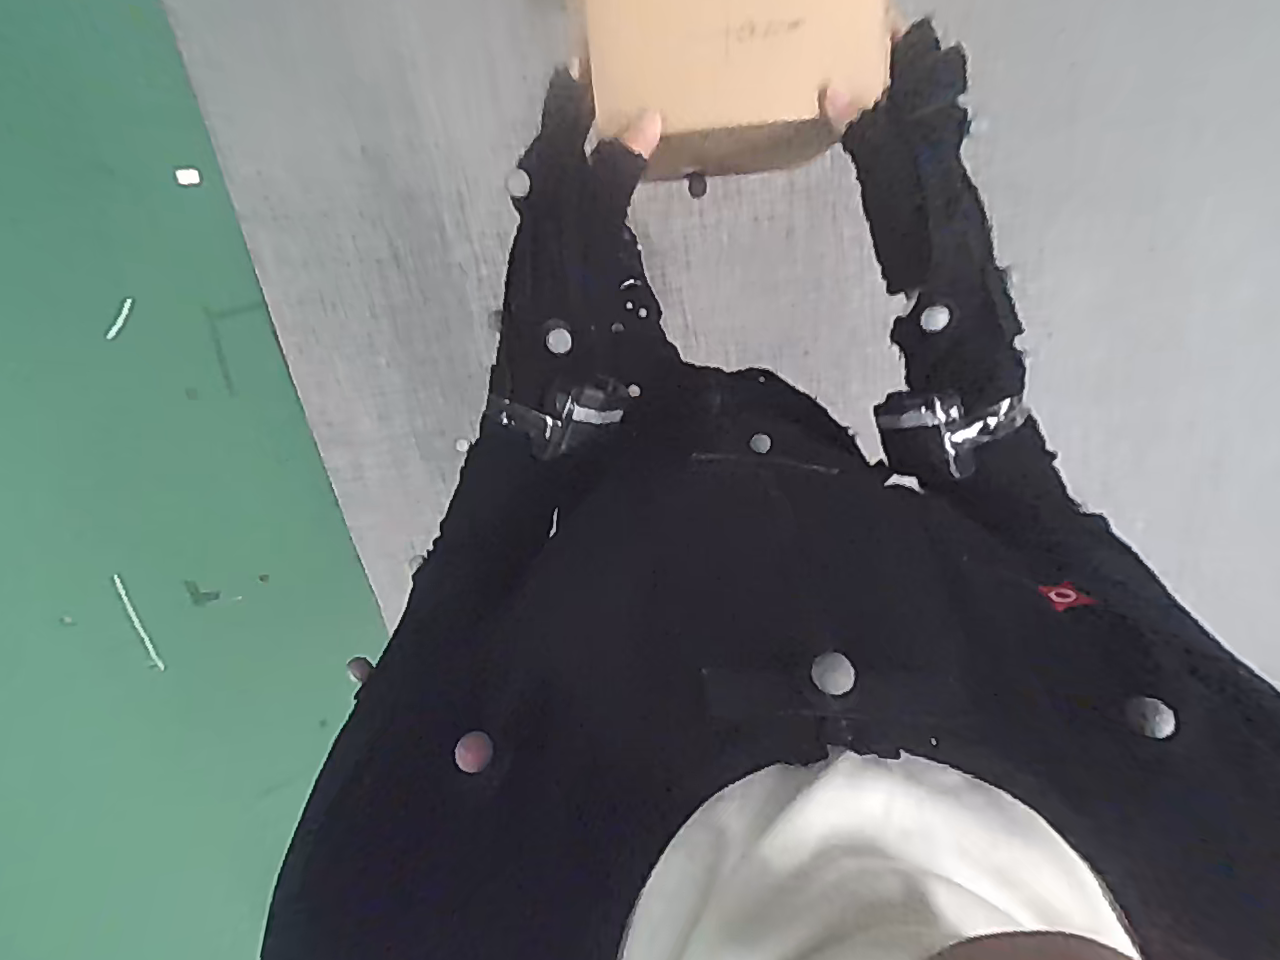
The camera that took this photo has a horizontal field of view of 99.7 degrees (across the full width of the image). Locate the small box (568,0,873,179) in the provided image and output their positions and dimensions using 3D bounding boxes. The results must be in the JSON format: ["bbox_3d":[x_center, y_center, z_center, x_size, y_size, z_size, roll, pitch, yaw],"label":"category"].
[{"bbox_3d":[0.040,-0.314,0.352,0.168,0.176,0.179,-4,110,2],"label":"small box"}]
